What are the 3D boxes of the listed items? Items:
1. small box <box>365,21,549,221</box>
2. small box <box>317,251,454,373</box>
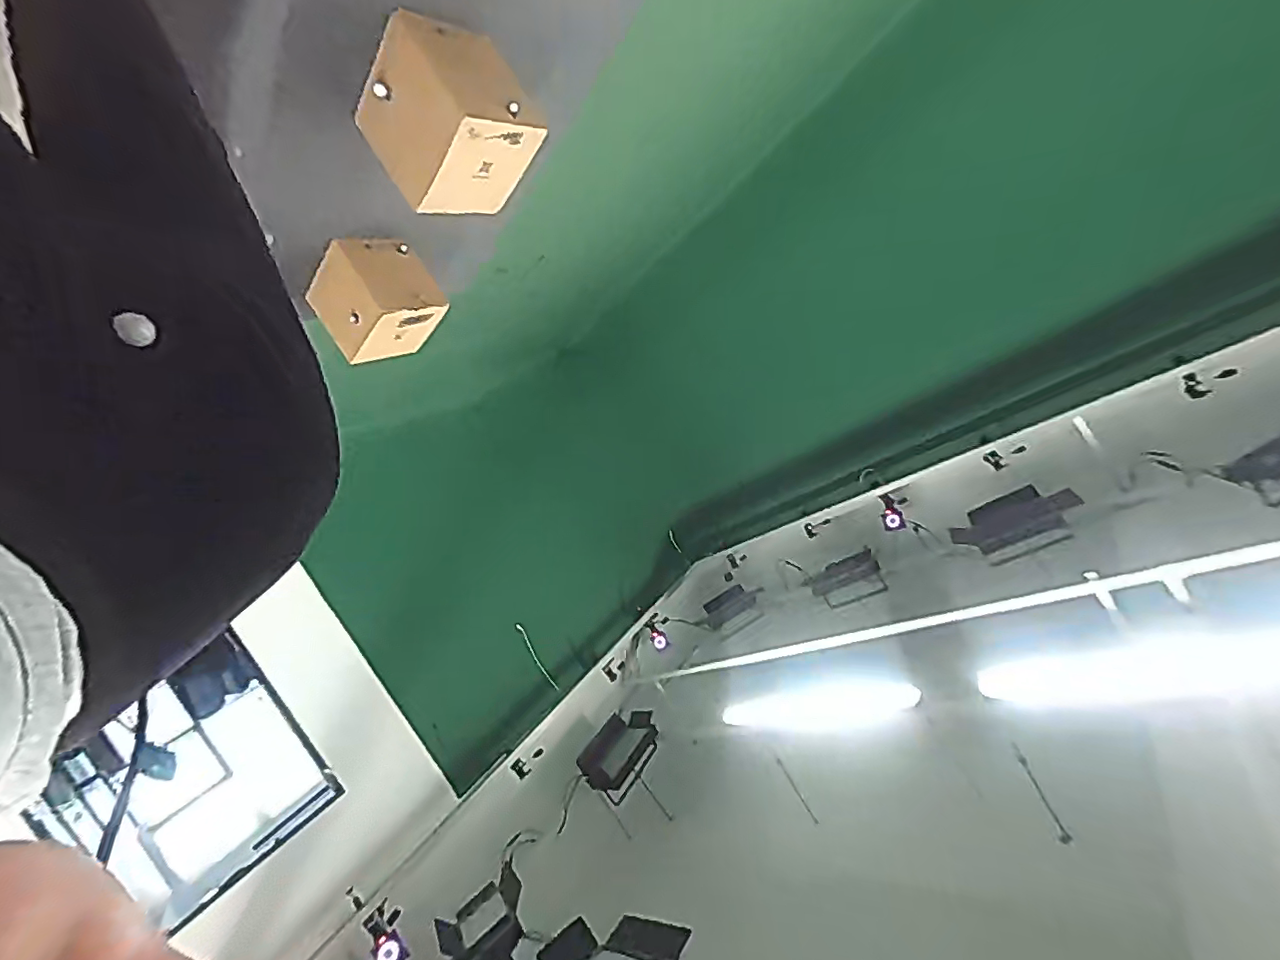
[{"bbox_3d":[-0.277,-0.518,0.808,0.179,0.176,0.168,-32,-178,41],"label":"small box"},{"bbox_3d":[-0.529,-0.352,1.118,0.179,0.176,0.168,-33,-179,37],"label":"small box"}]
